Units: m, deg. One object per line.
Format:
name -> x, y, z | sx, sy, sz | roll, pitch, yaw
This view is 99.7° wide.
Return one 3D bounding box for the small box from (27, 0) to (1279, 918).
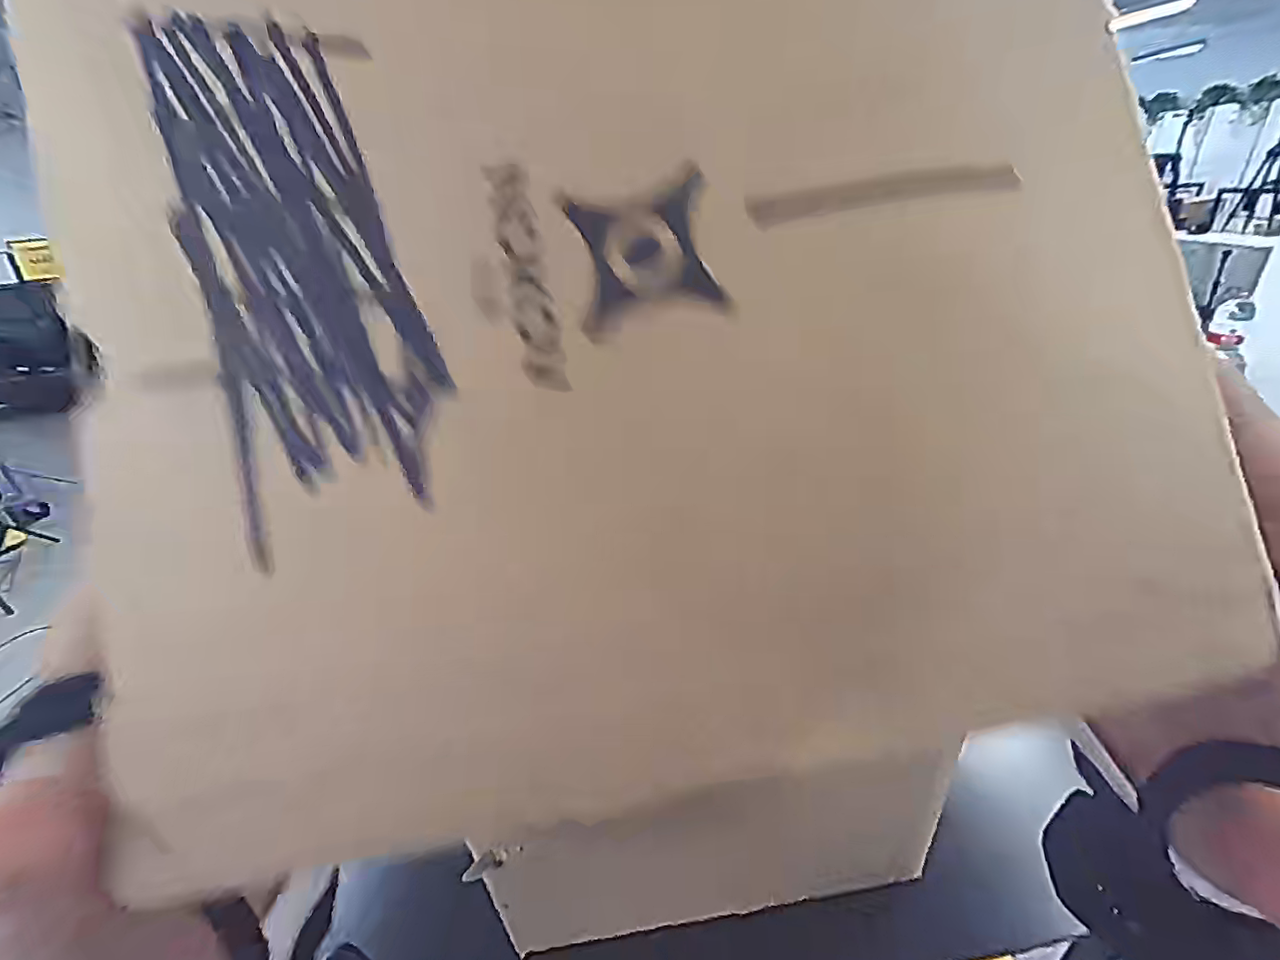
small box -> -0.002, -0.024, 0.165 | 0.179, 0.168, 0.176 | -12, -3, 2
